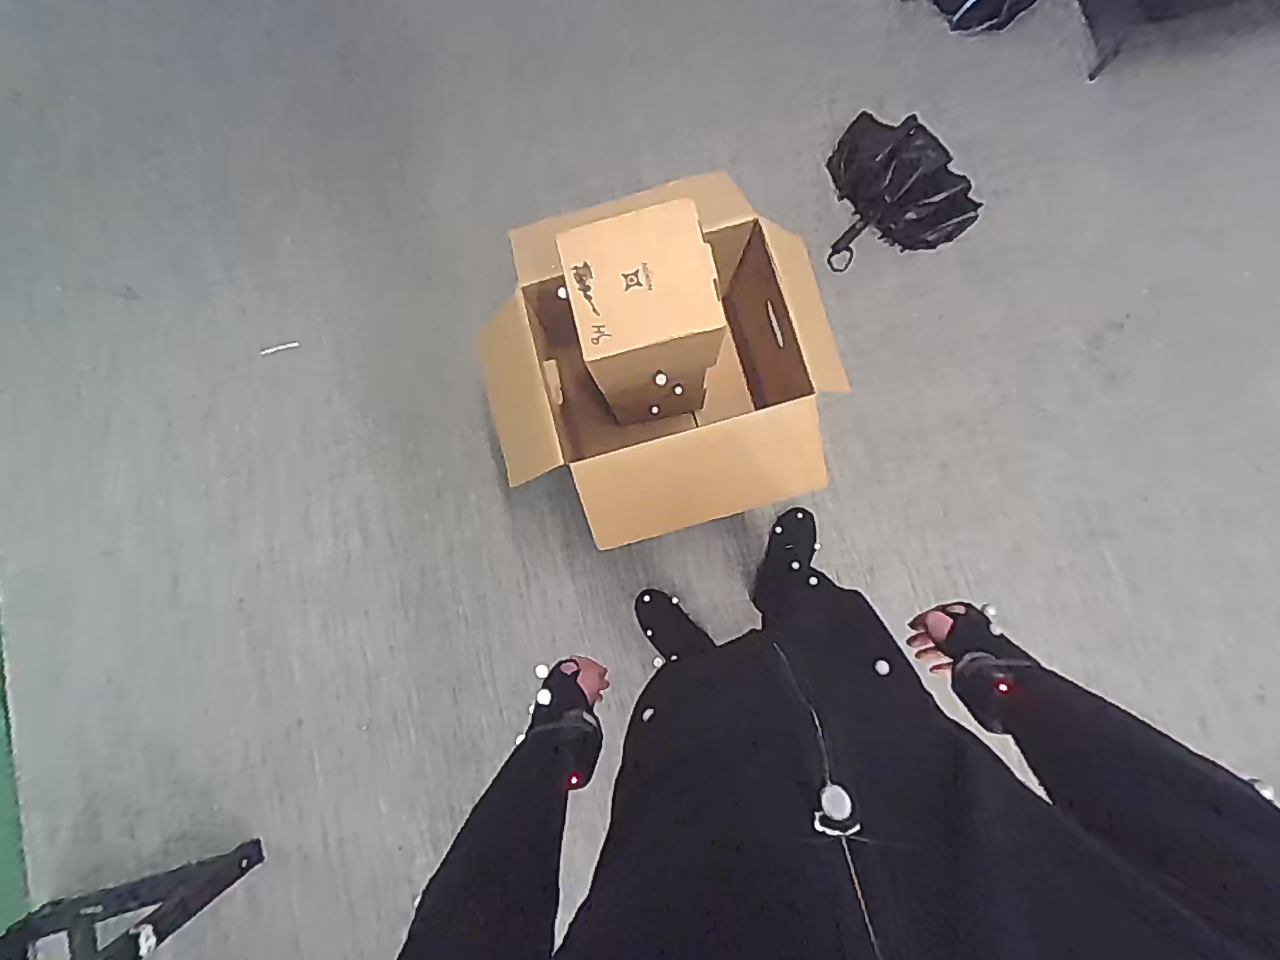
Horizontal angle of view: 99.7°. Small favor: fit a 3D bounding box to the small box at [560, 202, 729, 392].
[{"bbox_3d":[0.006,-0.231,0.723,0.179,0.176,0.168,-14,84,2],"label":"small box"}]
